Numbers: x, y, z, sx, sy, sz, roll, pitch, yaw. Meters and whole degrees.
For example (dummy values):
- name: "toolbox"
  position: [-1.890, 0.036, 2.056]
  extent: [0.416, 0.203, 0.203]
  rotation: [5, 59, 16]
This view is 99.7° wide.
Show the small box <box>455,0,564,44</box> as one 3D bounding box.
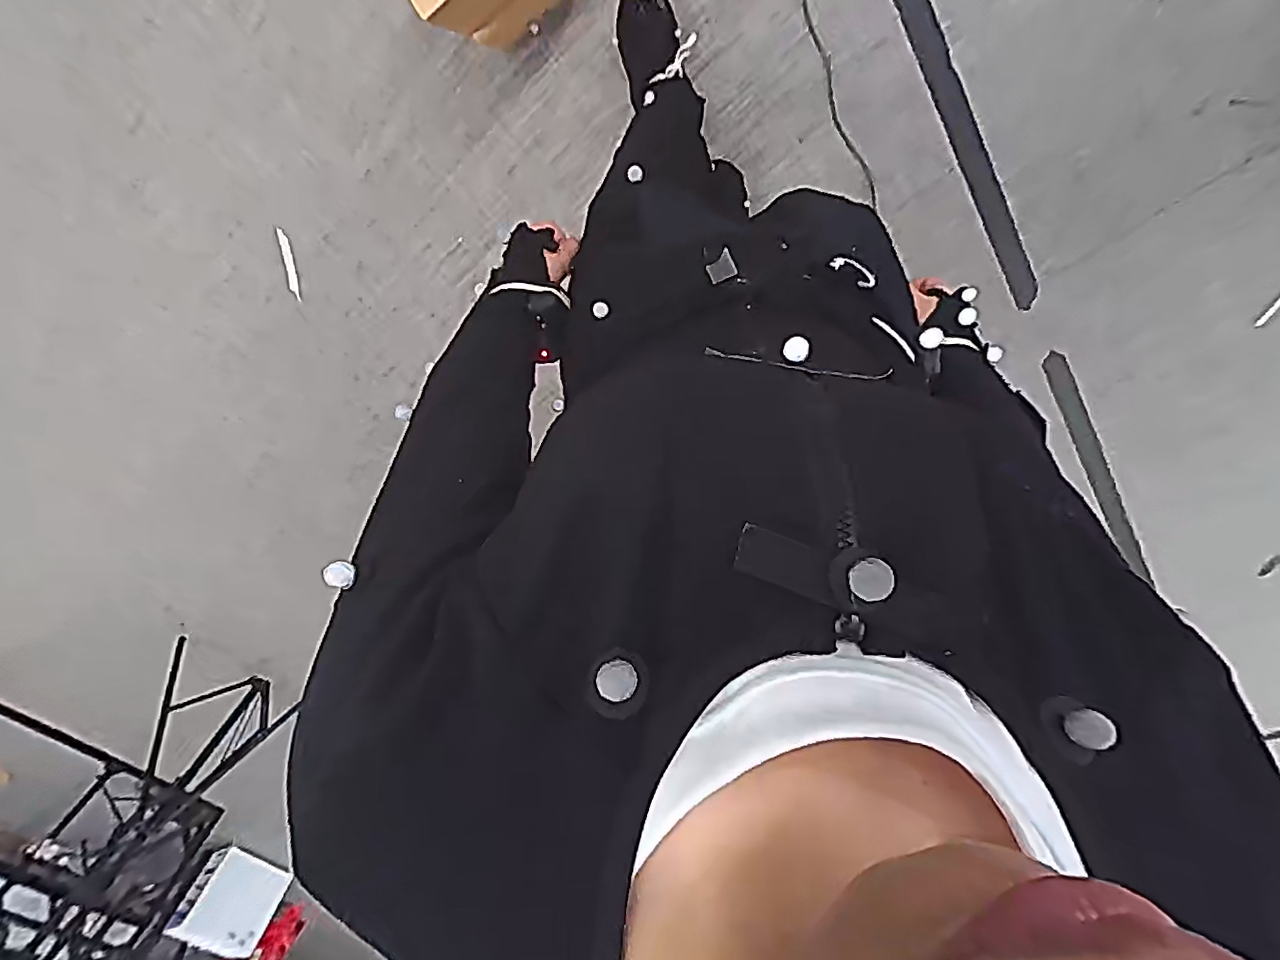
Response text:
- name: "small box"
  position: [-0.232, -0.855, 0.877]
  extent: [0.168, 0.176, 0.179]
  rotation: [-24, 120, 21]
